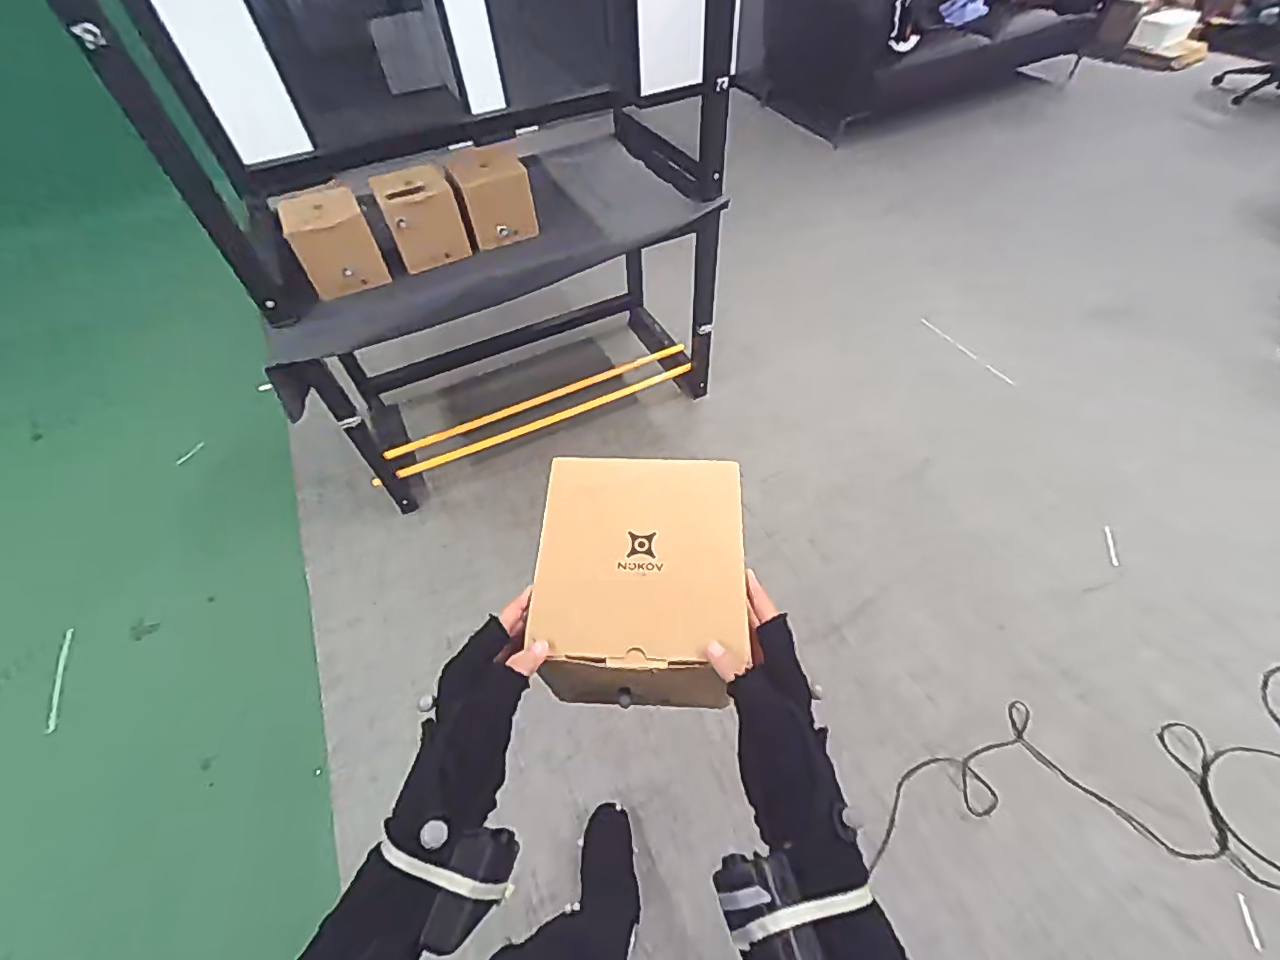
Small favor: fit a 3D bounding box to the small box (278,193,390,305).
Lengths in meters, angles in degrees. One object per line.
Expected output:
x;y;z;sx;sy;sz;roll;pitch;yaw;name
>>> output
-0.722;-0.547;1.285;0.168;0.176;0.179;-24;55;-16;small box
